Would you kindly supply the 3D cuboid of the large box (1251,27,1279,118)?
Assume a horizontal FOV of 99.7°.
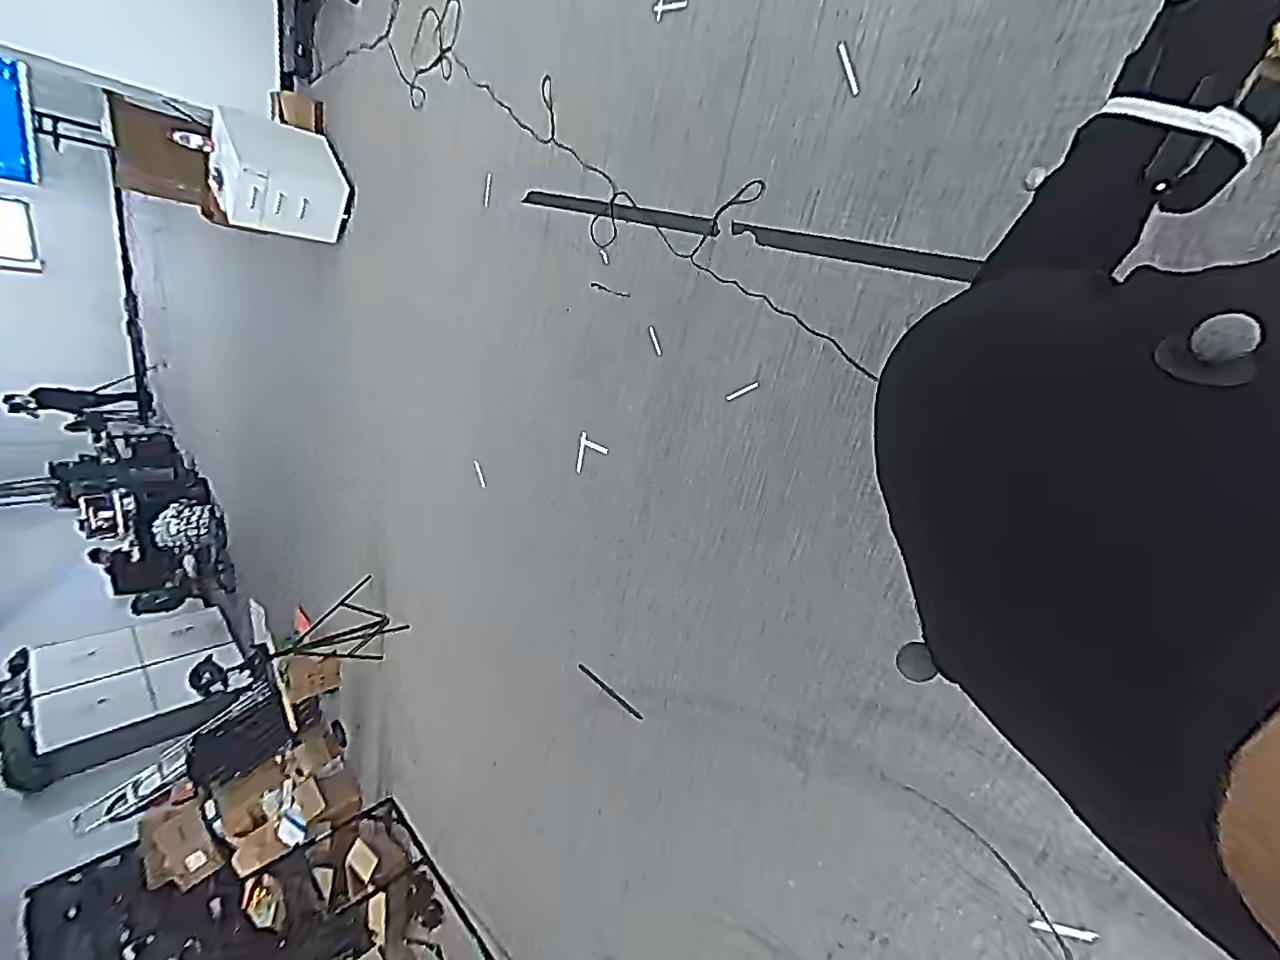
[{"bbox_3d":[0.662,-0.330,0.255,0.408,0.320,0.320,39,135,28],"label":"large box"}]
